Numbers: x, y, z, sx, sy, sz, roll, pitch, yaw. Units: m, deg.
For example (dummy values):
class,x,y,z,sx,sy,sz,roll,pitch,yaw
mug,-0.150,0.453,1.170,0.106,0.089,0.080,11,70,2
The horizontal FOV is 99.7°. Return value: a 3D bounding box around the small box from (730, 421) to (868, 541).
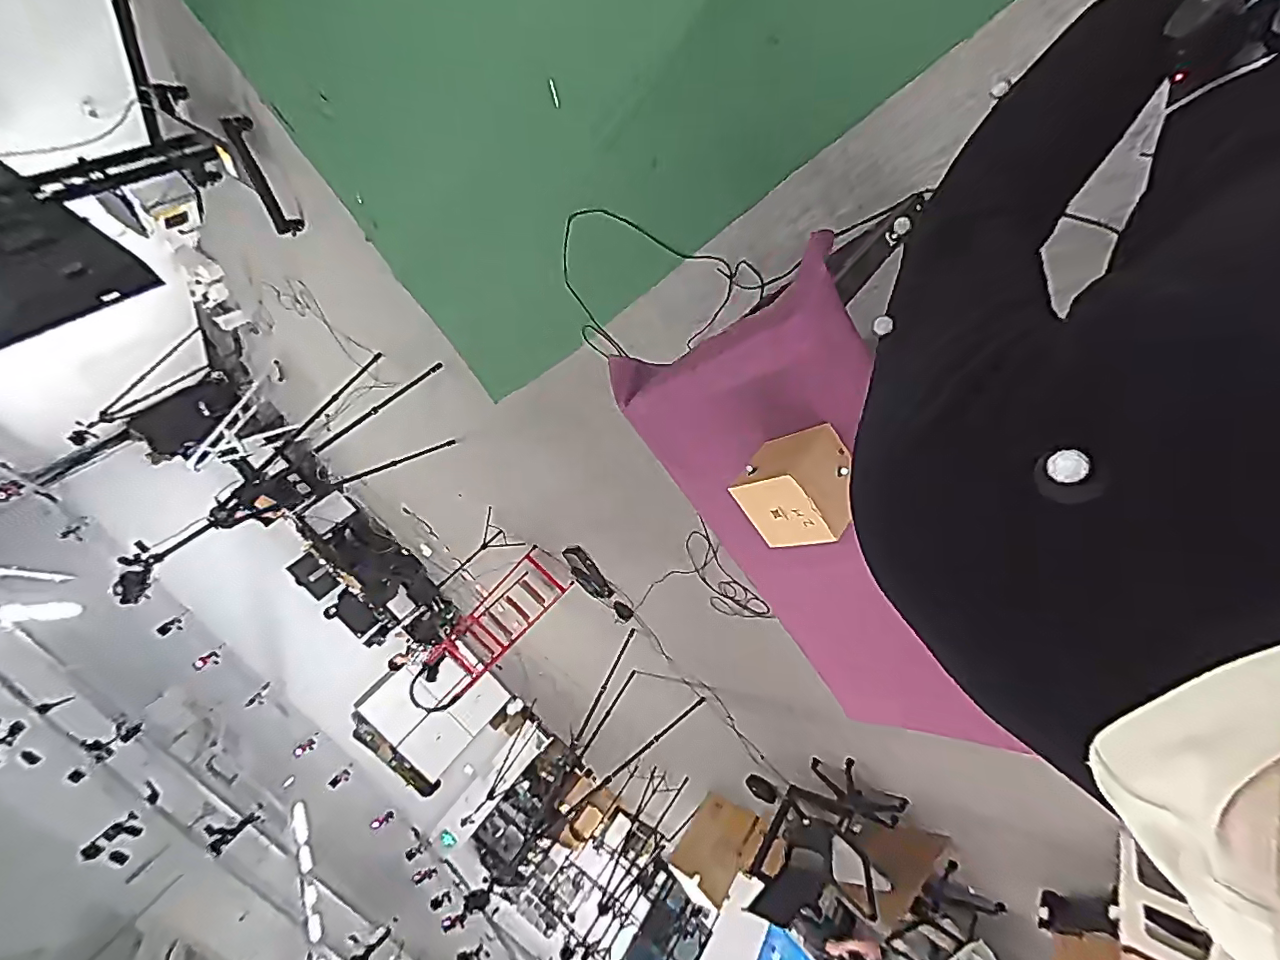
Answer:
class,x,y,z,sx,sy,sz,roll,pitch,yaw
small box,0.325,0.004,1.099,0.168,0.176,0.179,52,148,-14
